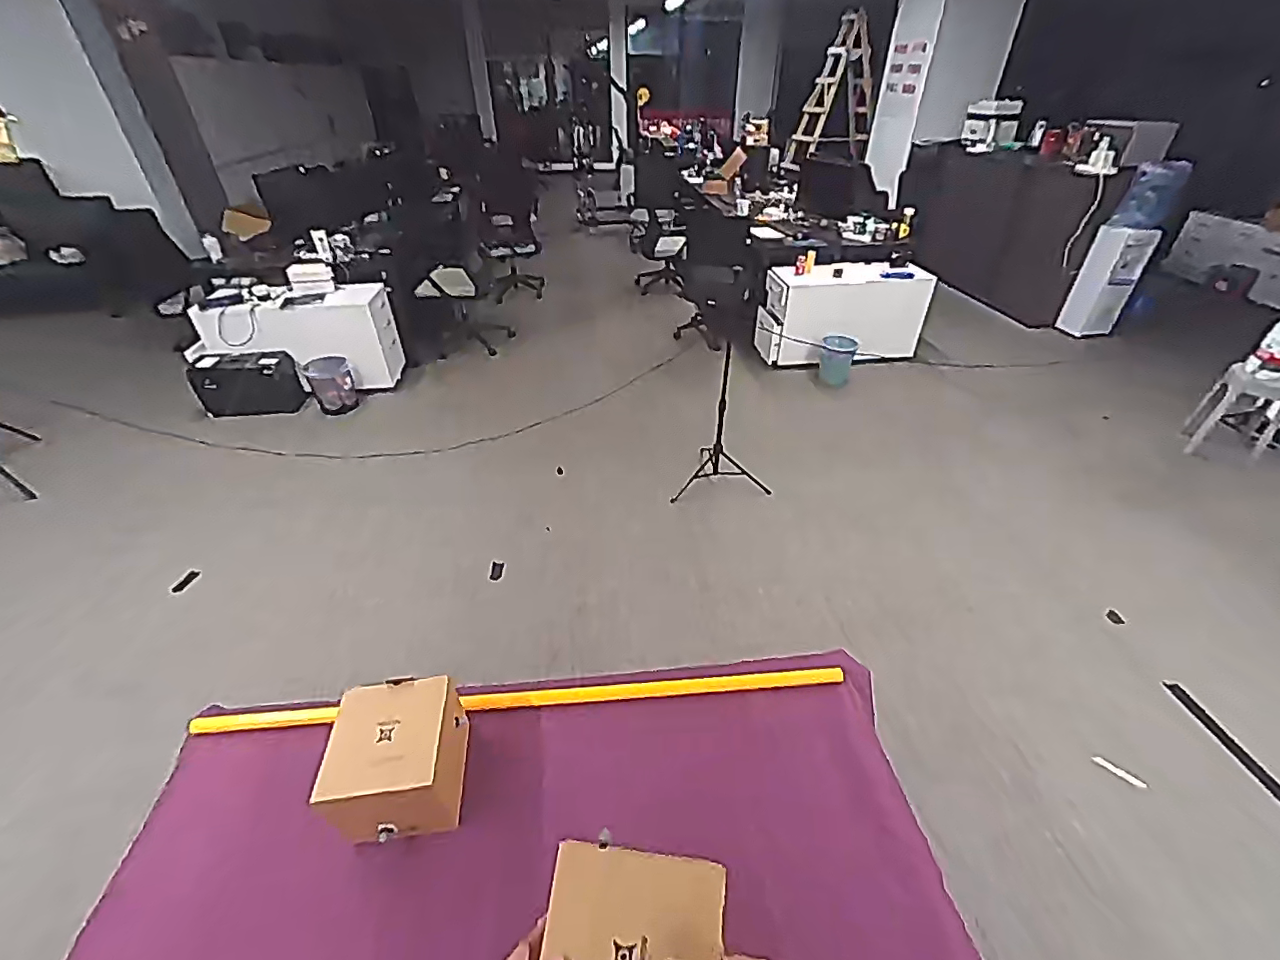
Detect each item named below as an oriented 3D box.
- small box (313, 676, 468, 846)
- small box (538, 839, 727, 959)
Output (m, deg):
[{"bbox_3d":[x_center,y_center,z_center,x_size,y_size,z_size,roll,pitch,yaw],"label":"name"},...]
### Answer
[{"bbox_3d":[-0.378,0.442,0.859,0.168,0.176,0.179,-6,38,-6],"label":"small box"},{"bbox_3d":[-0.010,0.494,0.576,0.179,0.176,0.168,7,57,2],"label":"small box"}]
